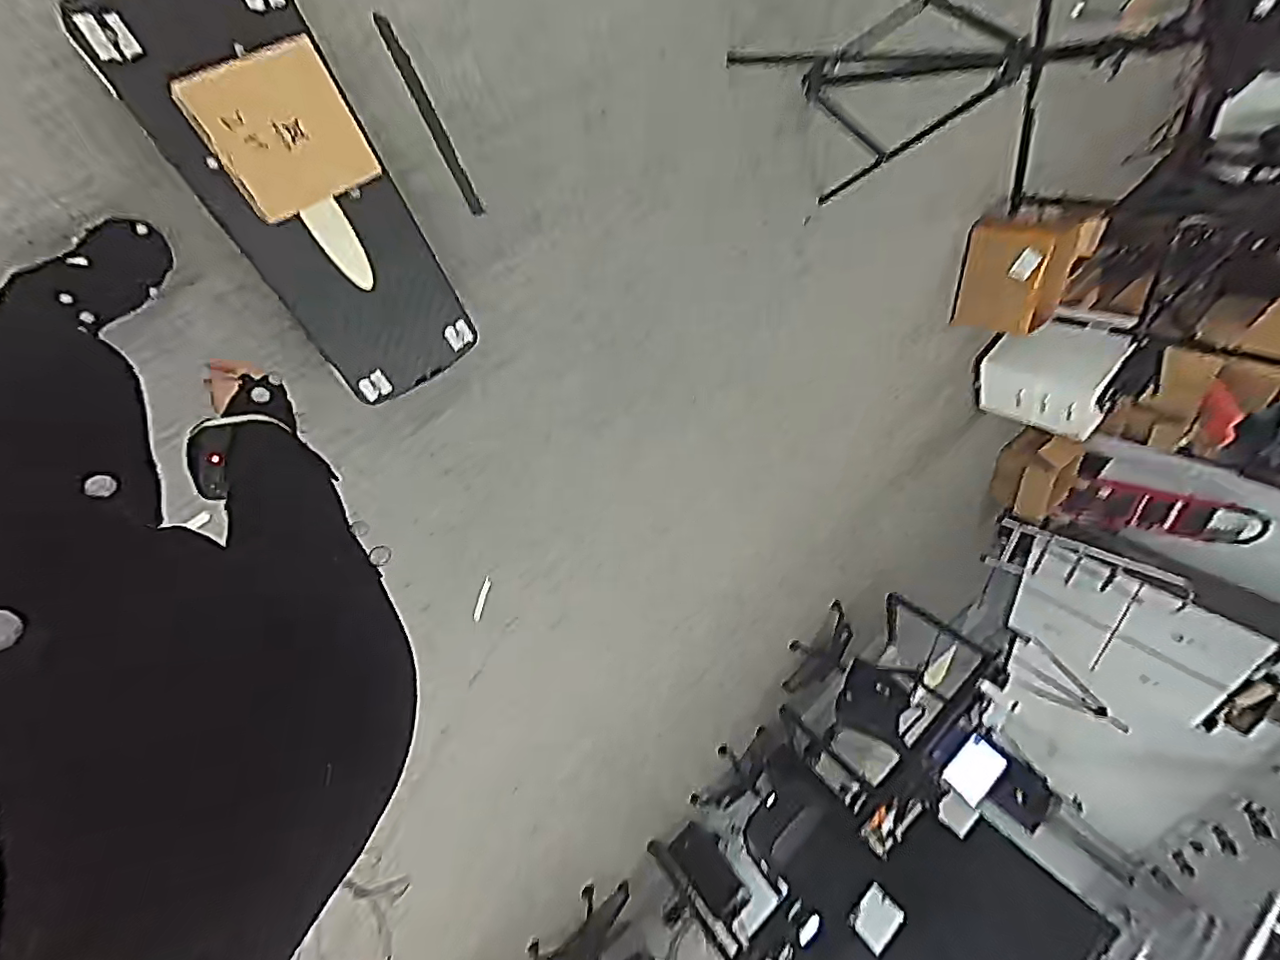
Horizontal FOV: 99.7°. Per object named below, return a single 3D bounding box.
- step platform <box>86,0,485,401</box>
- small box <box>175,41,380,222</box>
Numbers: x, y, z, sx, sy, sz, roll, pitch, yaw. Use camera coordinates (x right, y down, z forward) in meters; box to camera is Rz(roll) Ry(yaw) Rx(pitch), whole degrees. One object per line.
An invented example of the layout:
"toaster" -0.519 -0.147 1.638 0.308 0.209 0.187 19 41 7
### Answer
"step platform" -0.567 -0.481 0.986 0.286 0.204 0.684 -38 133 -18
"small box" -0.516 -0.492 0.771 0.179 0.176 0.168 -37 133 -18
